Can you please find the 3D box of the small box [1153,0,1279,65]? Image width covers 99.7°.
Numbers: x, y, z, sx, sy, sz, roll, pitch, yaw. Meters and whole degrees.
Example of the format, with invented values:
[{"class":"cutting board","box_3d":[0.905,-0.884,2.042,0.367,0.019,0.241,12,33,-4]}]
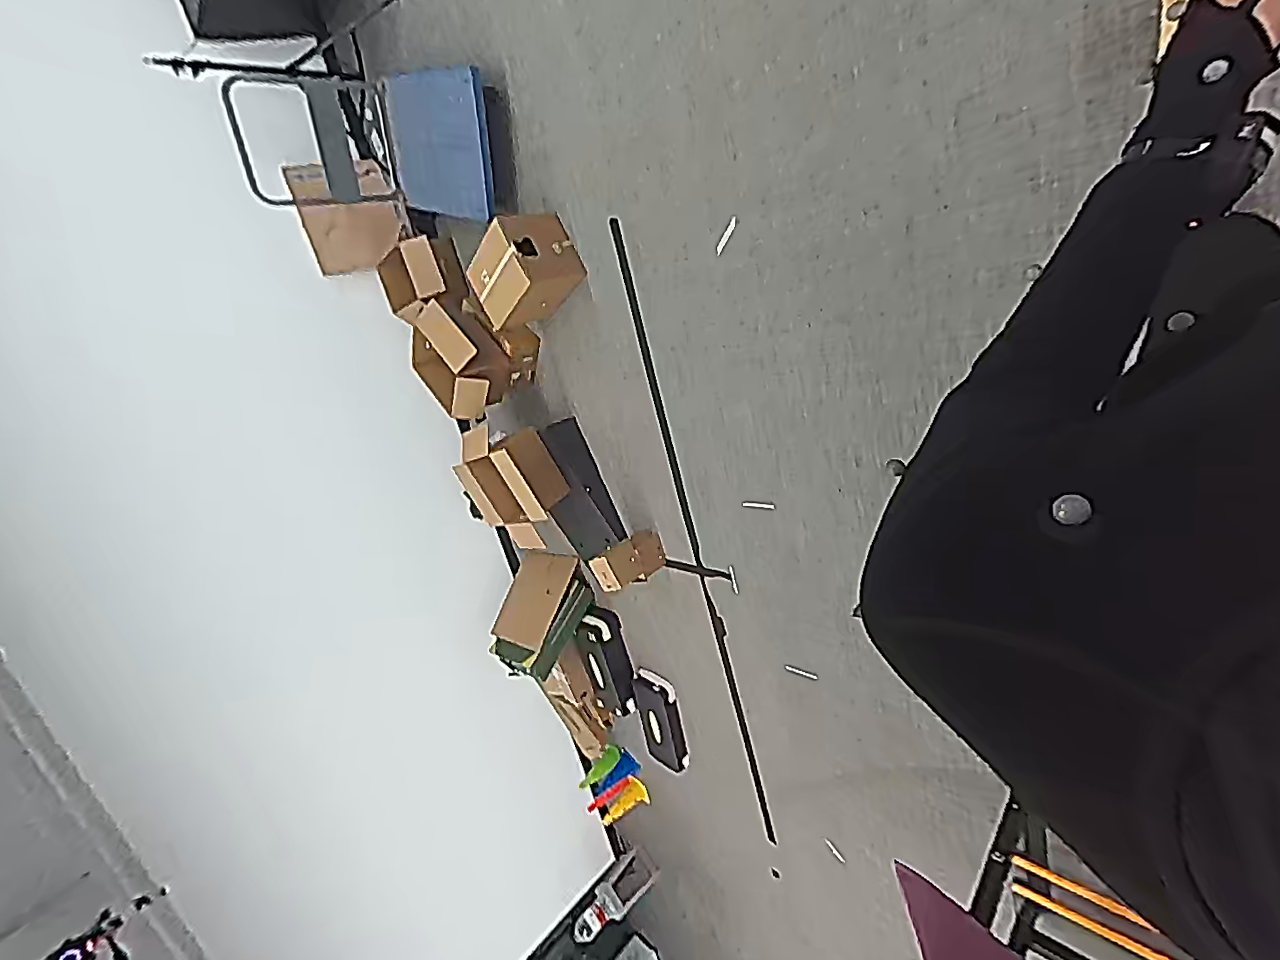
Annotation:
[{"class":"small box","box_3d":[0.989,-0.830,0.906,0.168,0.176,0.179,6,116,47]}]
